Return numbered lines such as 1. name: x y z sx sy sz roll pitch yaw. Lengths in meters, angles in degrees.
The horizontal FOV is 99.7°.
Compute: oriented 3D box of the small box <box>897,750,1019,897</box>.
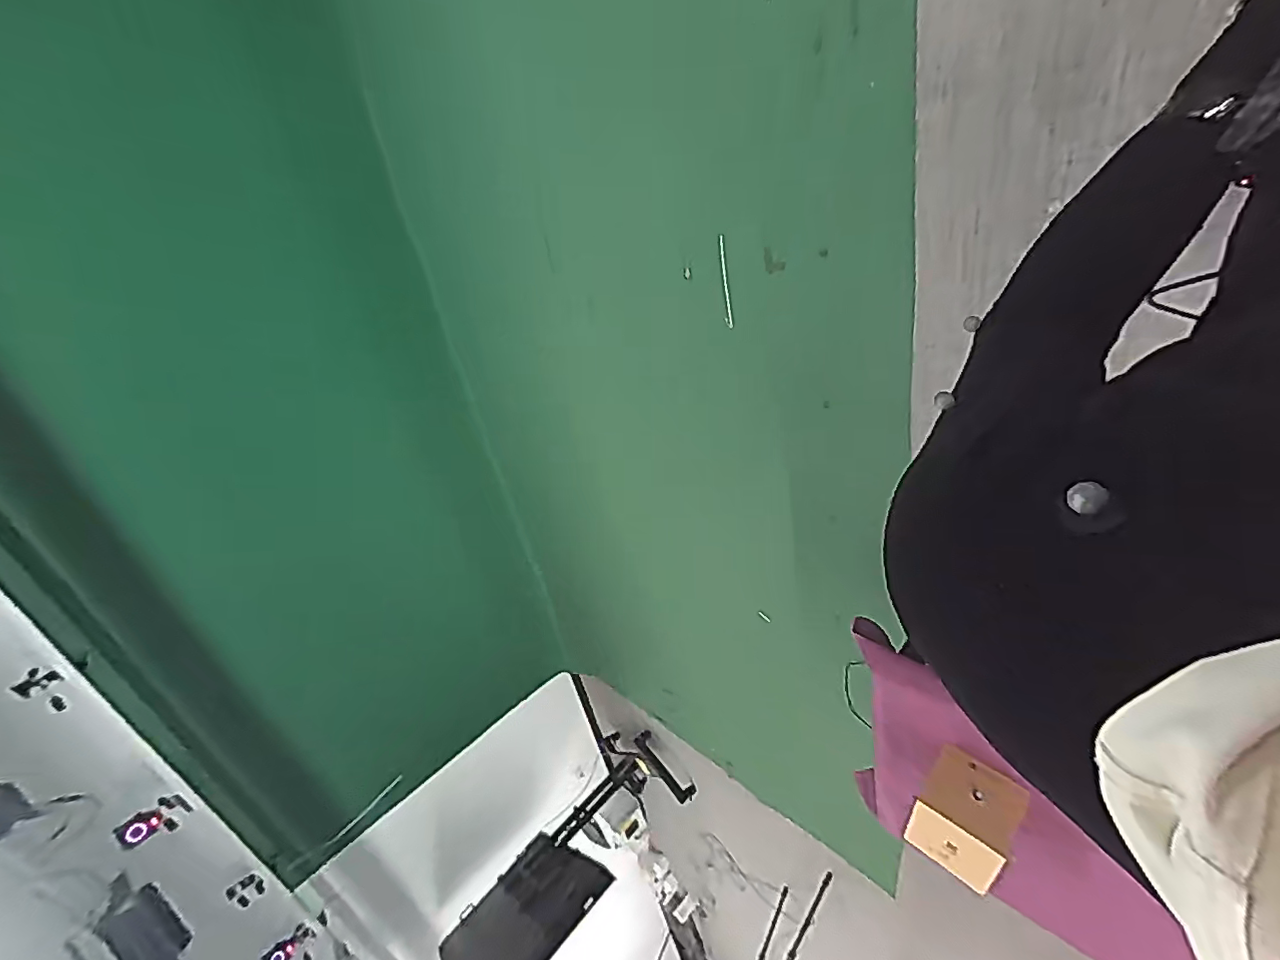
1. small box: 0.682 0.726 1.159 0.168 0.176 0.179 26 135 39
